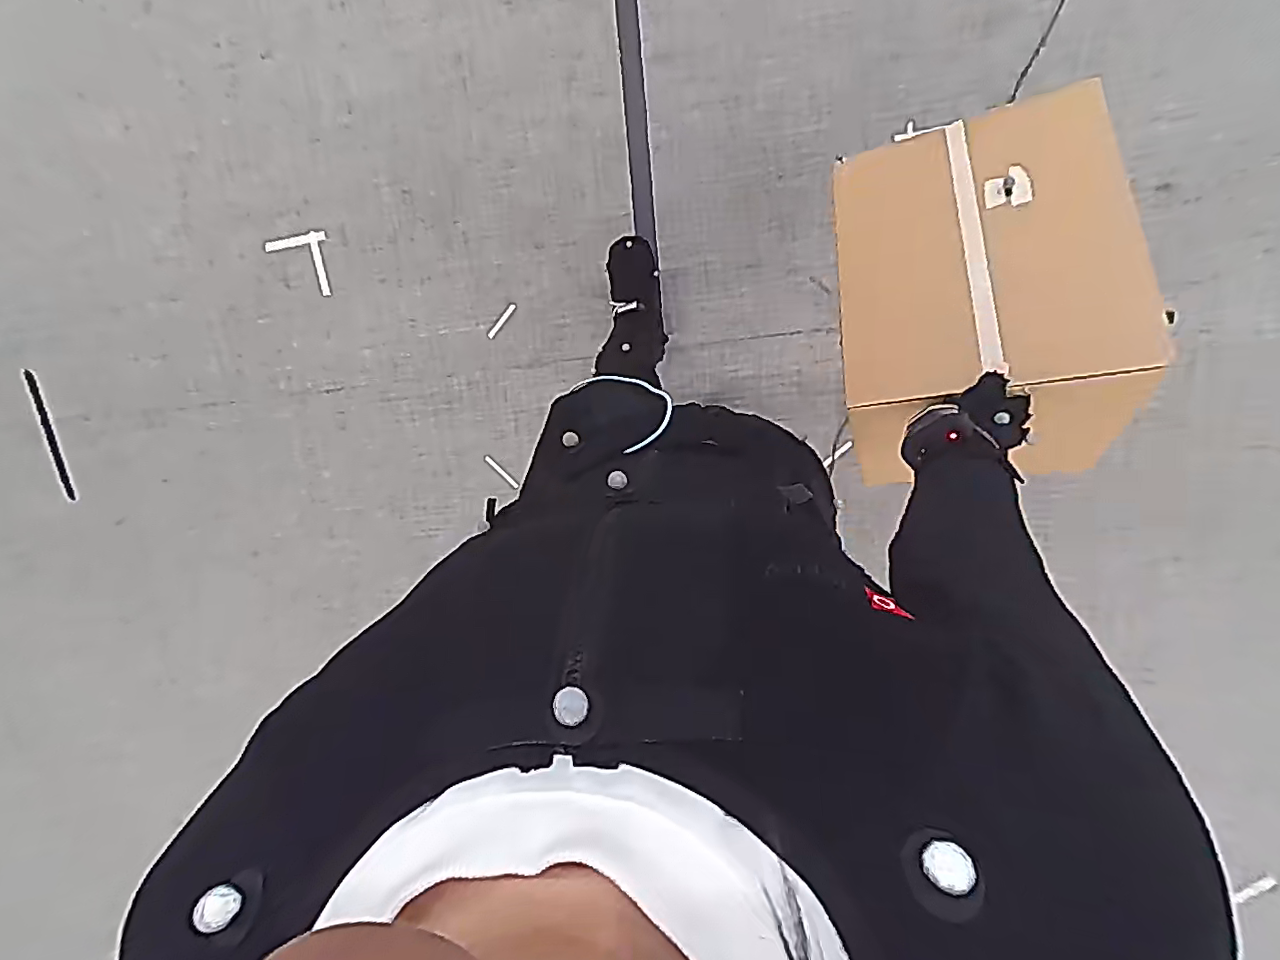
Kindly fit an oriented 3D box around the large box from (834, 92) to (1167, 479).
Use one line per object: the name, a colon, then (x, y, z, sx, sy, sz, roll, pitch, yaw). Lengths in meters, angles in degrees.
large box: (0.485, -0.247, 0.812, 0.320, 0.320, 0.408, -5, 69, 25)
